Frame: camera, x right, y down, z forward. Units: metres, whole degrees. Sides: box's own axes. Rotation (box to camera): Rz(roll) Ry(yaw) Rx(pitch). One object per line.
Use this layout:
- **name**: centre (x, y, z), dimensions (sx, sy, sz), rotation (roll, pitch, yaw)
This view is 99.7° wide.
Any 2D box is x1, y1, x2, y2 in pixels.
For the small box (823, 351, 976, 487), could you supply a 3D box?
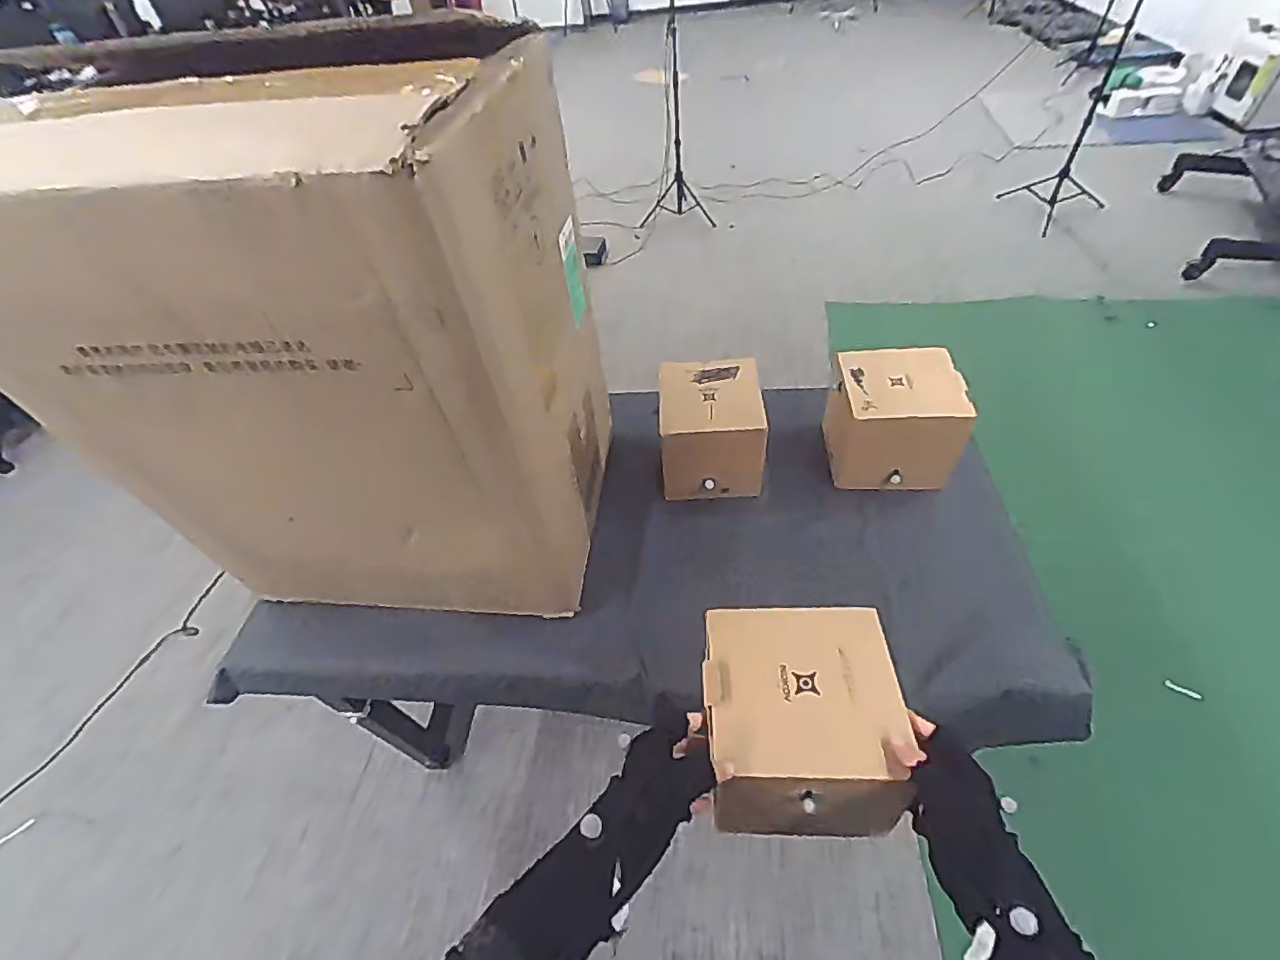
- **small box**: centre (0.423, -0.100, 0.915), dimensions (0.179, 0.176, 0.168), rotation (0, 50, 7)
